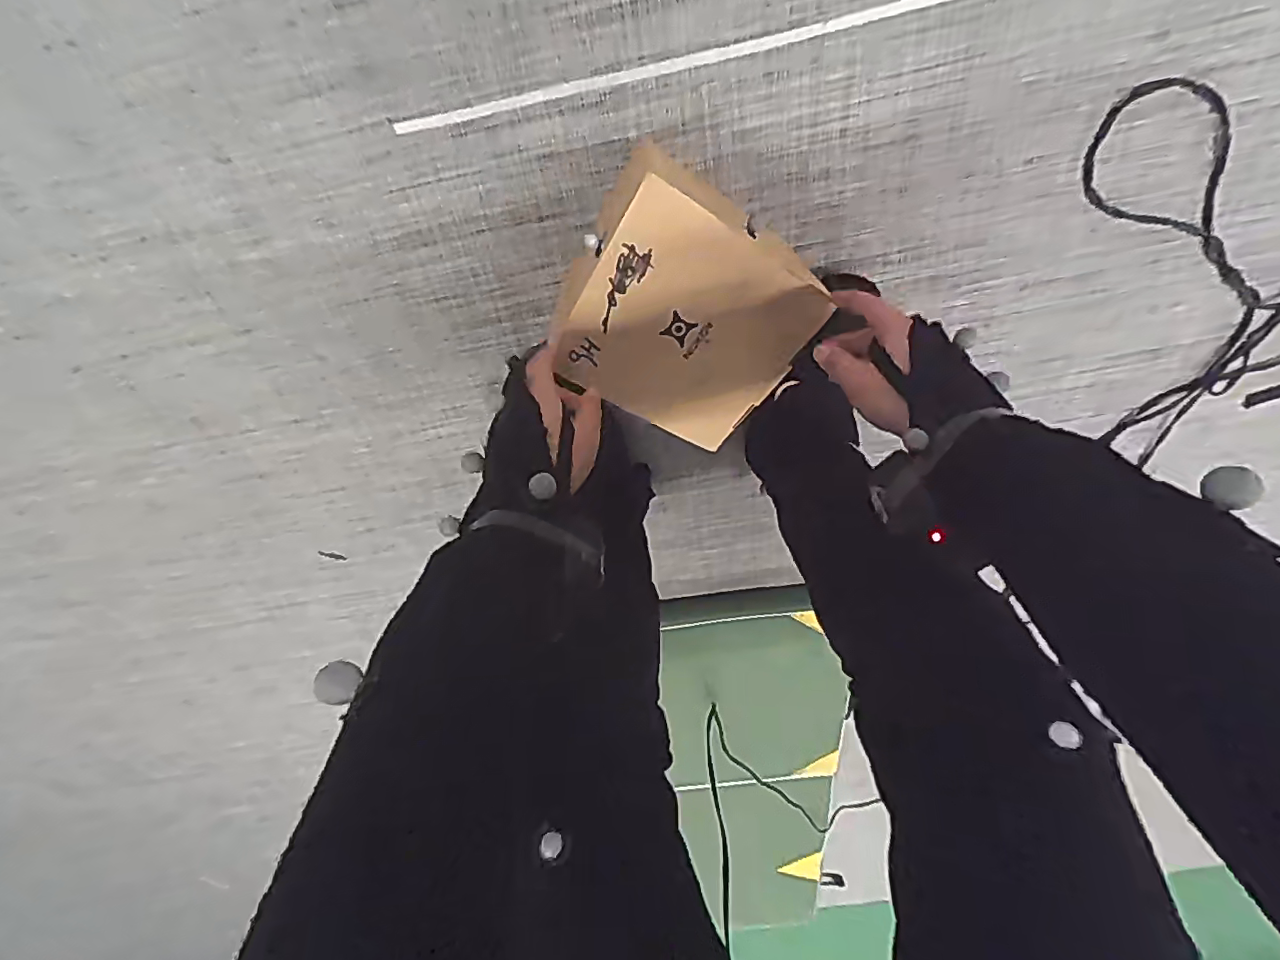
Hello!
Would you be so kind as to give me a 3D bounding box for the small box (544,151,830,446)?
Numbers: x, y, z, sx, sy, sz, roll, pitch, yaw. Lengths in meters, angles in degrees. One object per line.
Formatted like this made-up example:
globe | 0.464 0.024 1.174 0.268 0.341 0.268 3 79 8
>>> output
small box | 0.033 -0.168 0.494 0.179 0.176 0.168 25 123 -21
